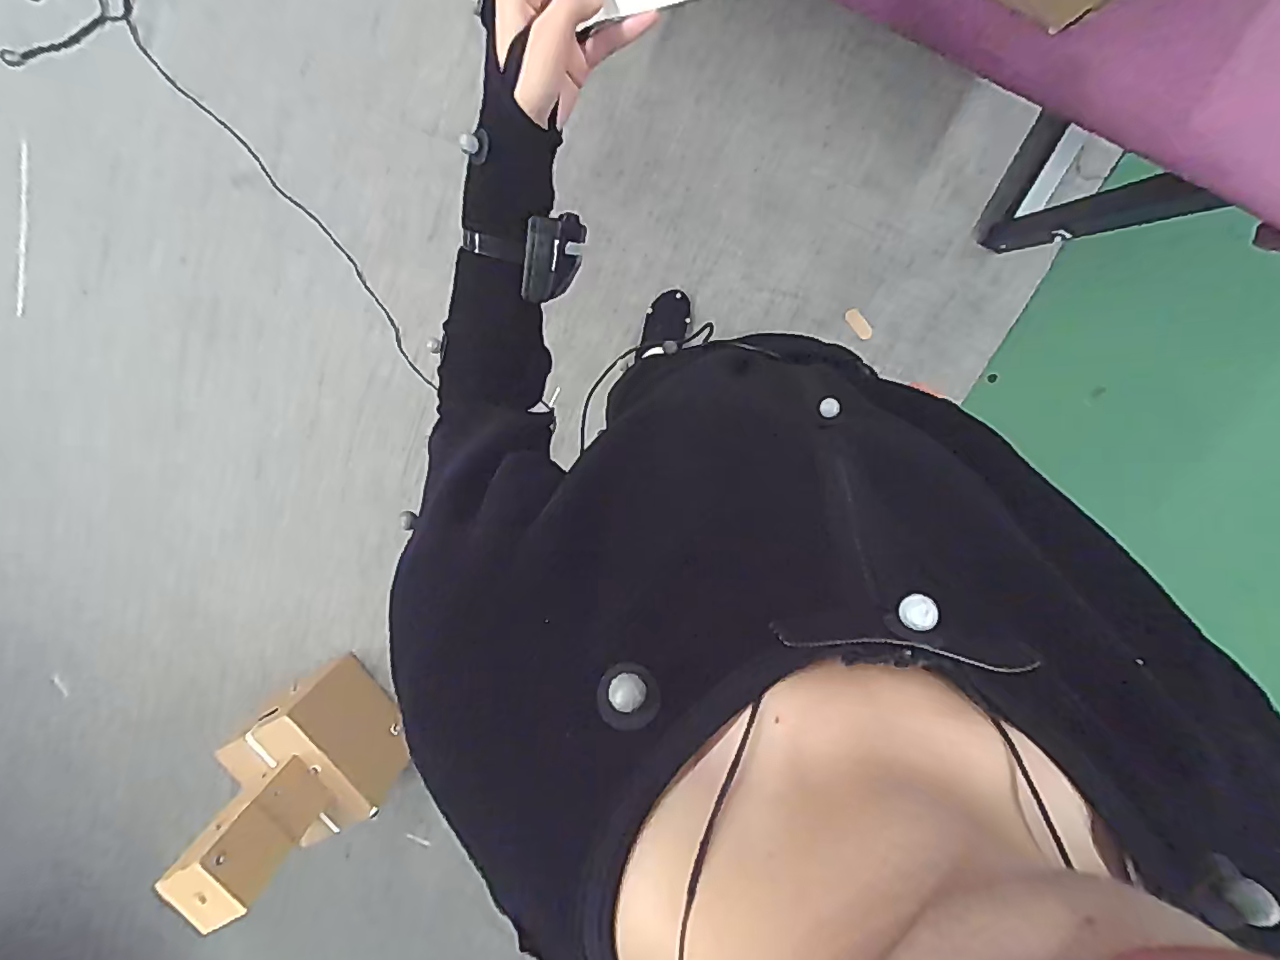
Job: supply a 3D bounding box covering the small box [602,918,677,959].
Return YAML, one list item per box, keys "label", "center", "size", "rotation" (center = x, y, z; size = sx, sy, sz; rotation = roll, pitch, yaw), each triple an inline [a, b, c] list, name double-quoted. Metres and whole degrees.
- label: "small box"
  center: [-0.009, 1.233, 1.327]
  size: [0.168, 0.176, 0.179]
  rotation: [16, 106, 0]

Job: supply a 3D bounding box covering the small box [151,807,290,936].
- label: "small box"
  center: [-1.026, 0.963, 1.340]
  size: [0.168, 0.176, 0.179]
  rotation: [-32, 100, 13]

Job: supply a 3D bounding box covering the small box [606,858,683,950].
- label: "small box"
  center: [0.016, 1.186, 1.483]
  size: [0.179, 0.176, 0.168]
  rotation: [14, 106, 1]
